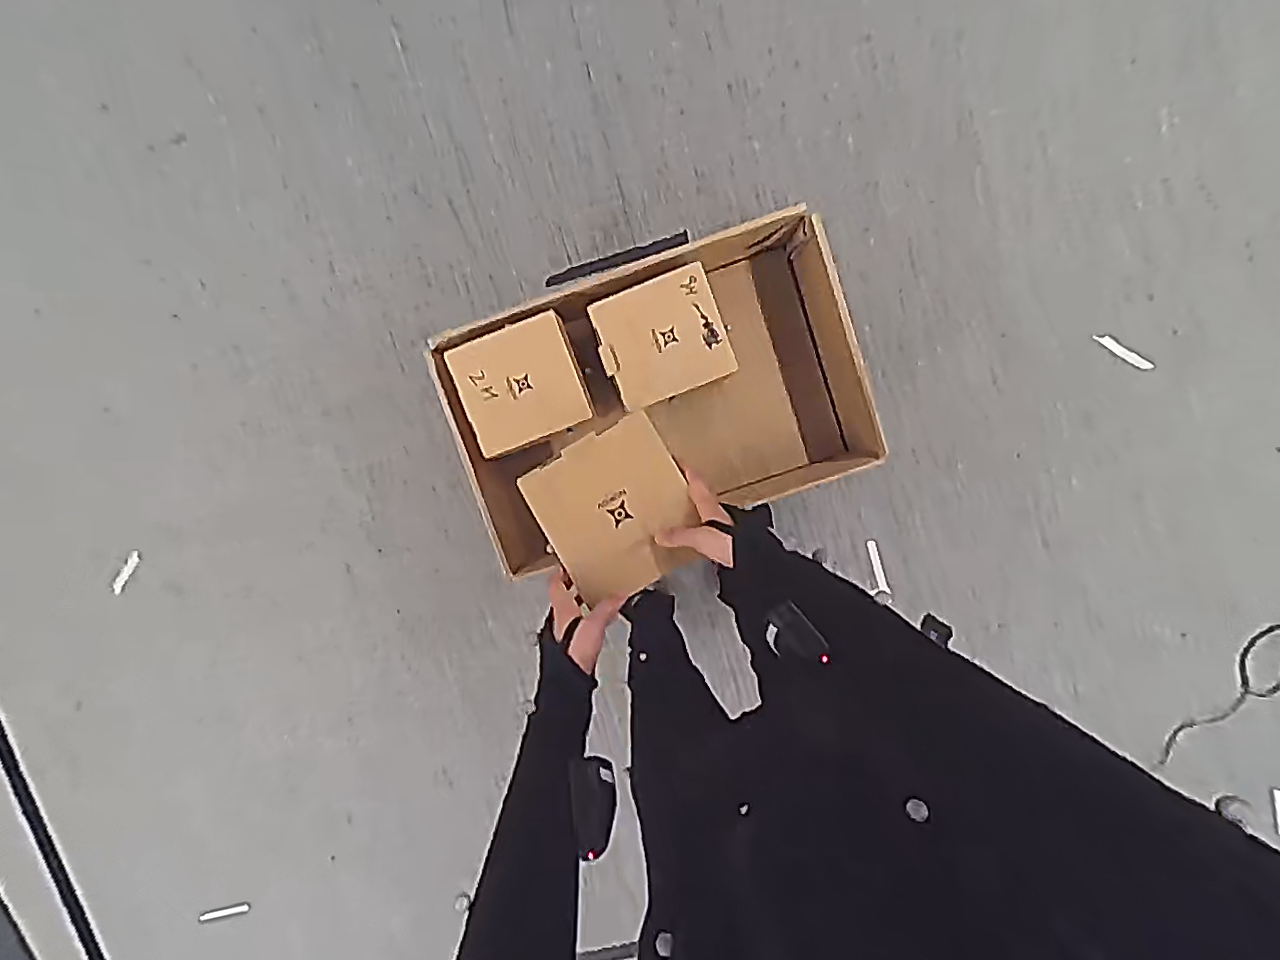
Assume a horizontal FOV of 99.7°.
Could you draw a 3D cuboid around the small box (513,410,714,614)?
[{"bbox_3d":[-0.029,0.041,0.672,0.168,0.176,0.179,-31,86,-1],"label":"small box"}]
